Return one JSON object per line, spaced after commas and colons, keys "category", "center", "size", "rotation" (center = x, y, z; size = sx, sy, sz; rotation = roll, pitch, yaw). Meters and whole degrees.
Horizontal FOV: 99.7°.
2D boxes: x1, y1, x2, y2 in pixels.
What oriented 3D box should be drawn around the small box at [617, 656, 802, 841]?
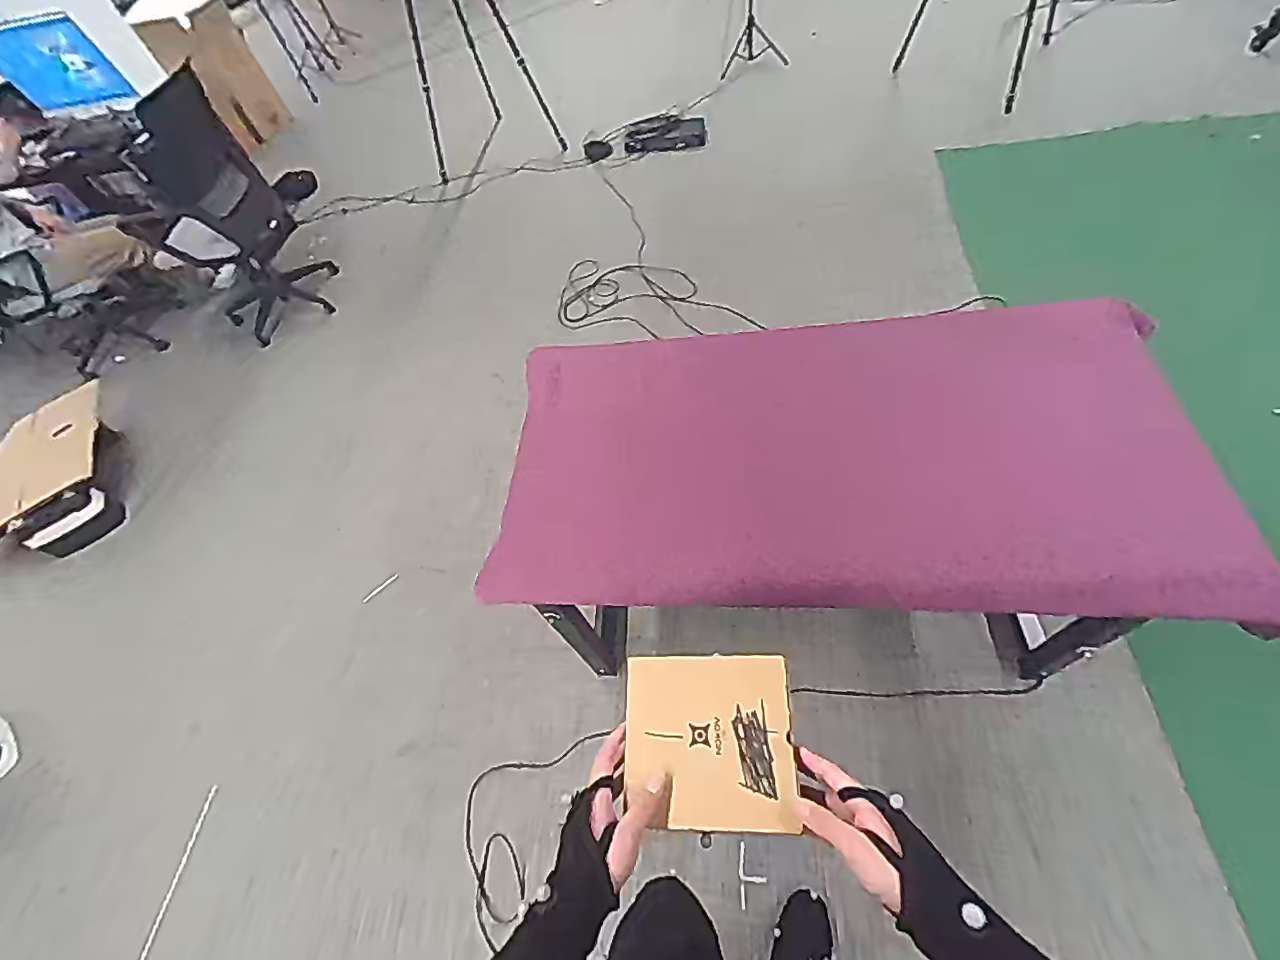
{"category": "small box", "center": [0.078, 0.306, 0.617], "size": [0.179, 0.176, 0.168], "rotation": [-3, 57, 8]}
